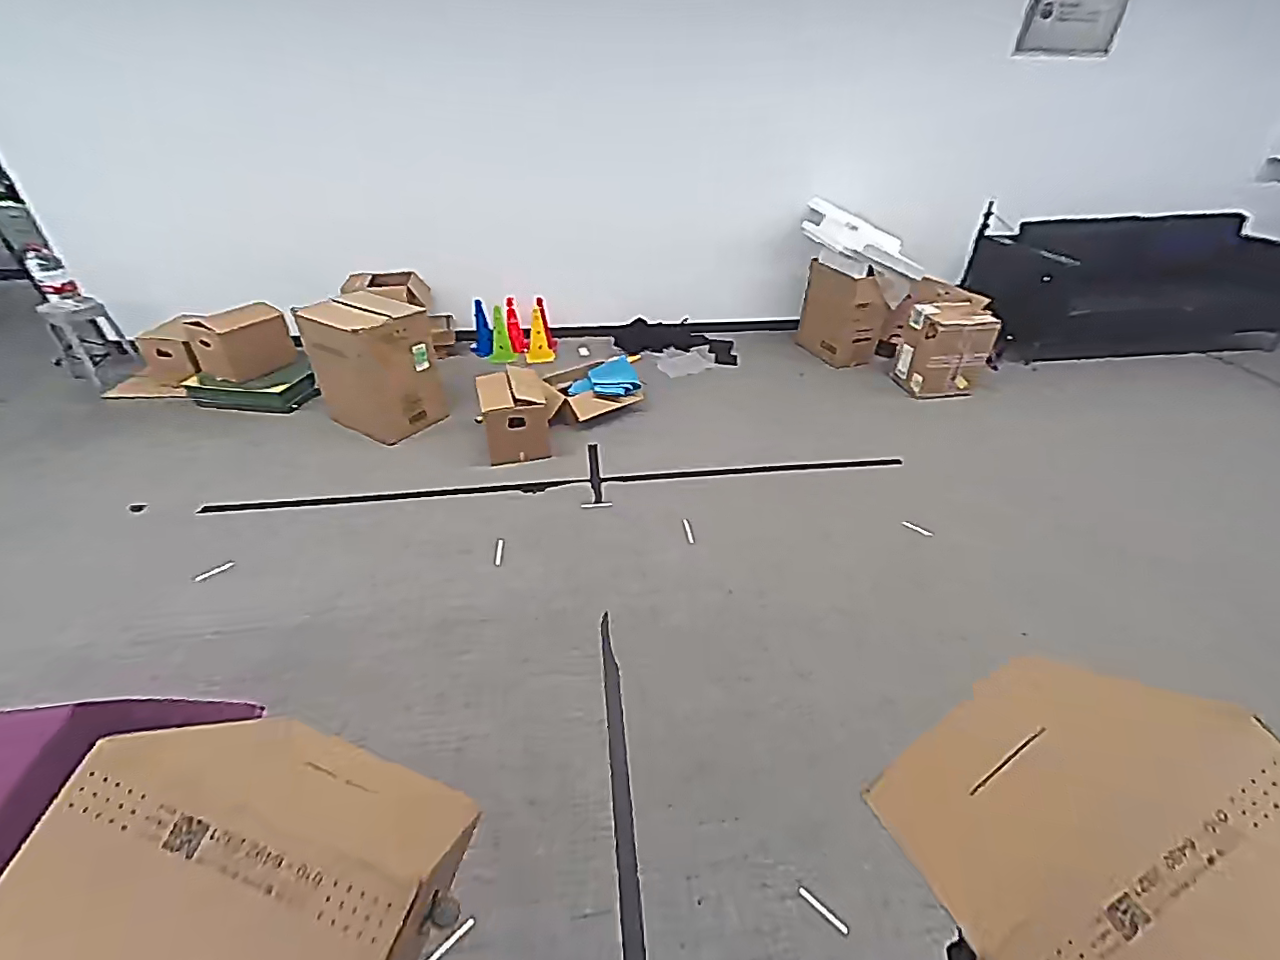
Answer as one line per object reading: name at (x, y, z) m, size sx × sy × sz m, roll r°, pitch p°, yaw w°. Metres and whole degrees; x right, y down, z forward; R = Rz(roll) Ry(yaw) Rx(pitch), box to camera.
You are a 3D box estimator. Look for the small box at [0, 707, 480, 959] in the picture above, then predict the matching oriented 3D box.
small box at (-0.206, 0.234, 0.288) m, size 0.168 × 0.179 × 0.176 m, roll 22°, pitch 68°, yaw 2°
